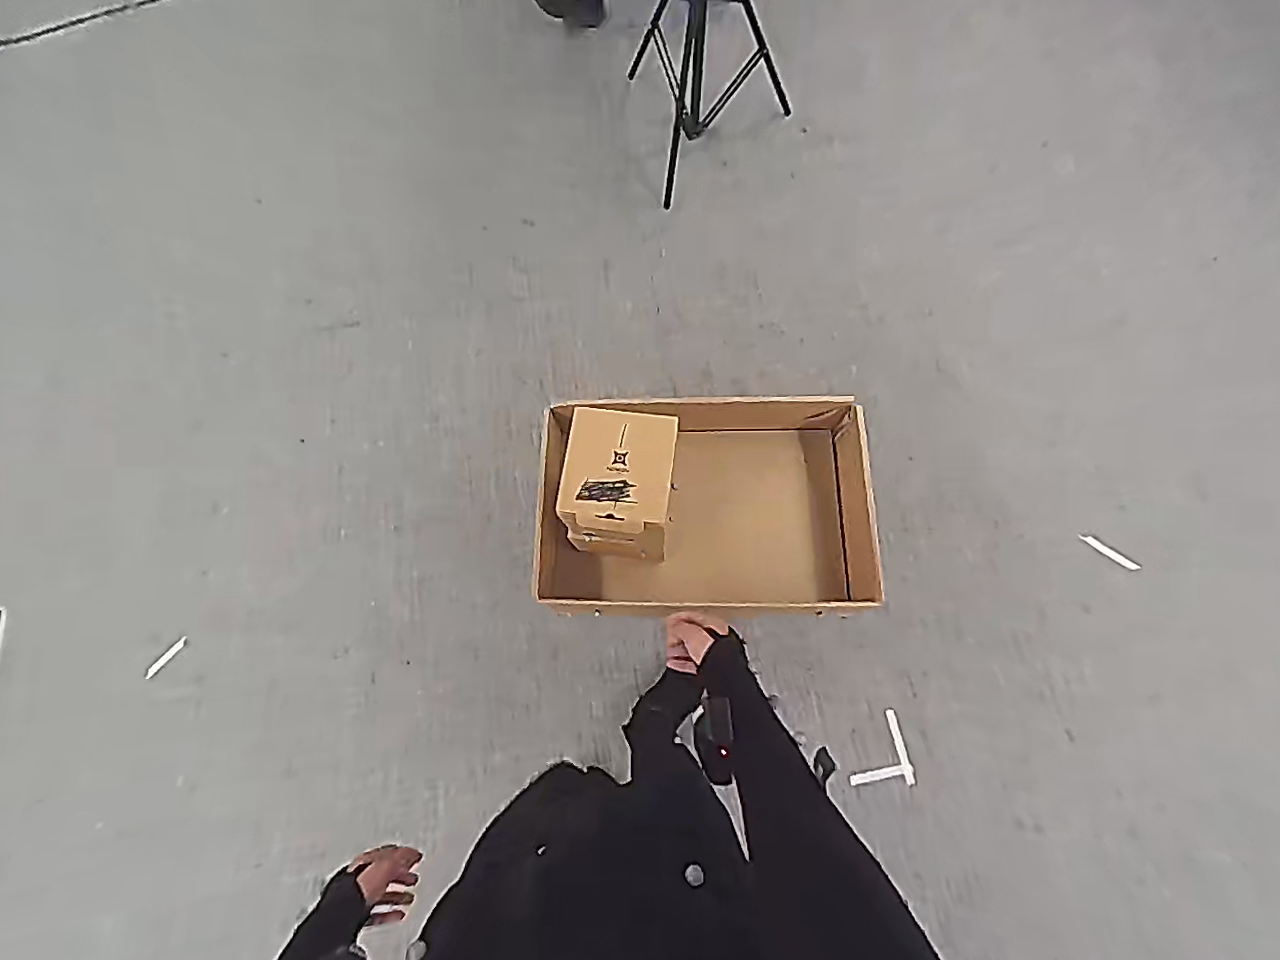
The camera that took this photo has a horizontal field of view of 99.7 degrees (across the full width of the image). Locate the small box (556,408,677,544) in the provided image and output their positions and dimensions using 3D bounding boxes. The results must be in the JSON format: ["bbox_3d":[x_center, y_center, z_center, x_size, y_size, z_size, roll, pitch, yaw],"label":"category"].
[{"bbox_3d":[-0.029,0.001,0.895,0.168,0.176,0.179,7,73,5],"label":"small box"}]
